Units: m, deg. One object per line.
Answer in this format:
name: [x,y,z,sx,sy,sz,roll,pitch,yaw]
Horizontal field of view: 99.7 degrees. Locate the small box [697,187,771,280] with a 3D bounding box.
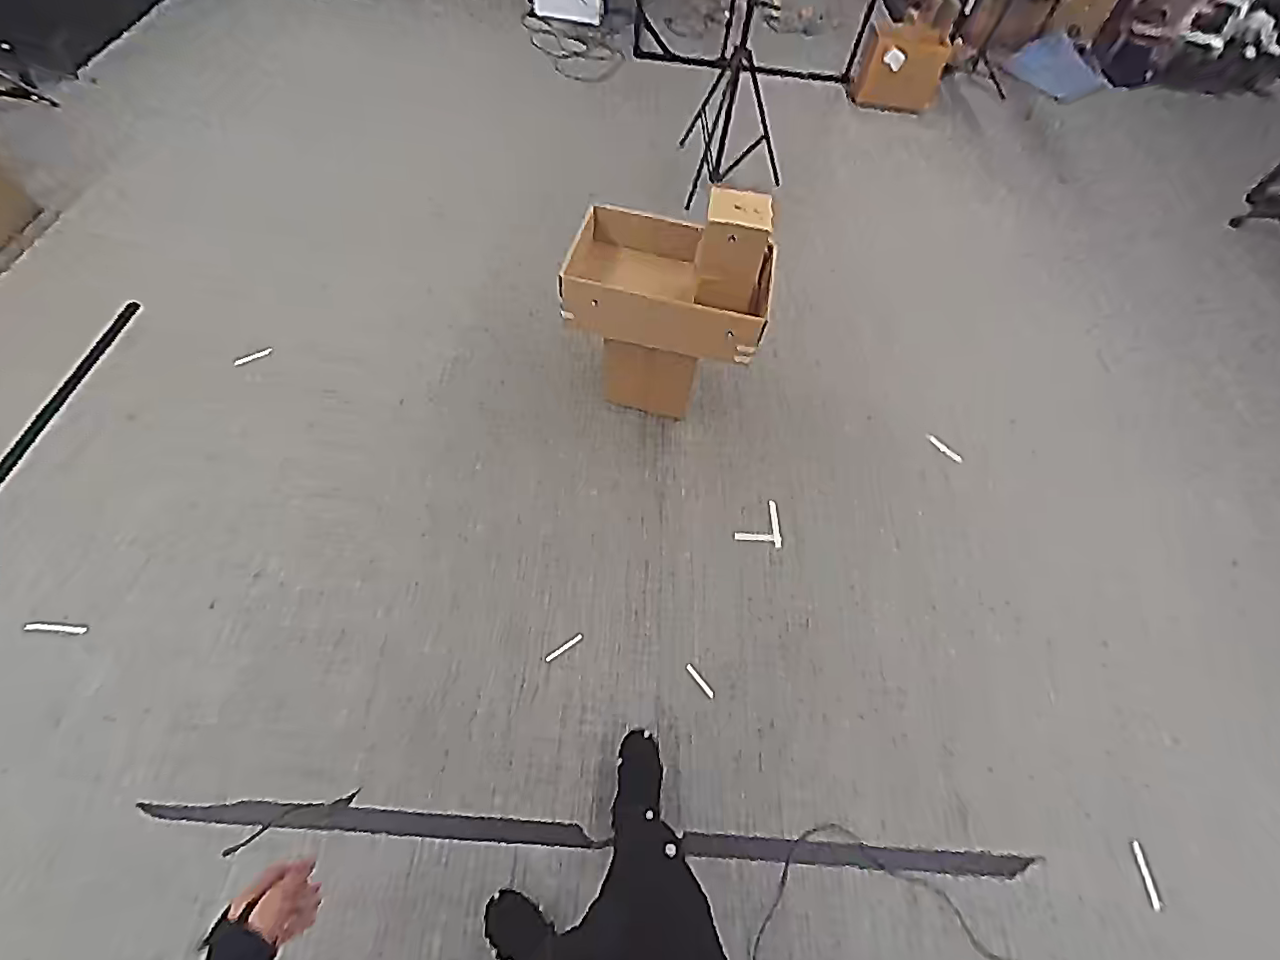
small box: [0.262,-0.691,1.526,0.179,0.176,0.168,9,58,1]
